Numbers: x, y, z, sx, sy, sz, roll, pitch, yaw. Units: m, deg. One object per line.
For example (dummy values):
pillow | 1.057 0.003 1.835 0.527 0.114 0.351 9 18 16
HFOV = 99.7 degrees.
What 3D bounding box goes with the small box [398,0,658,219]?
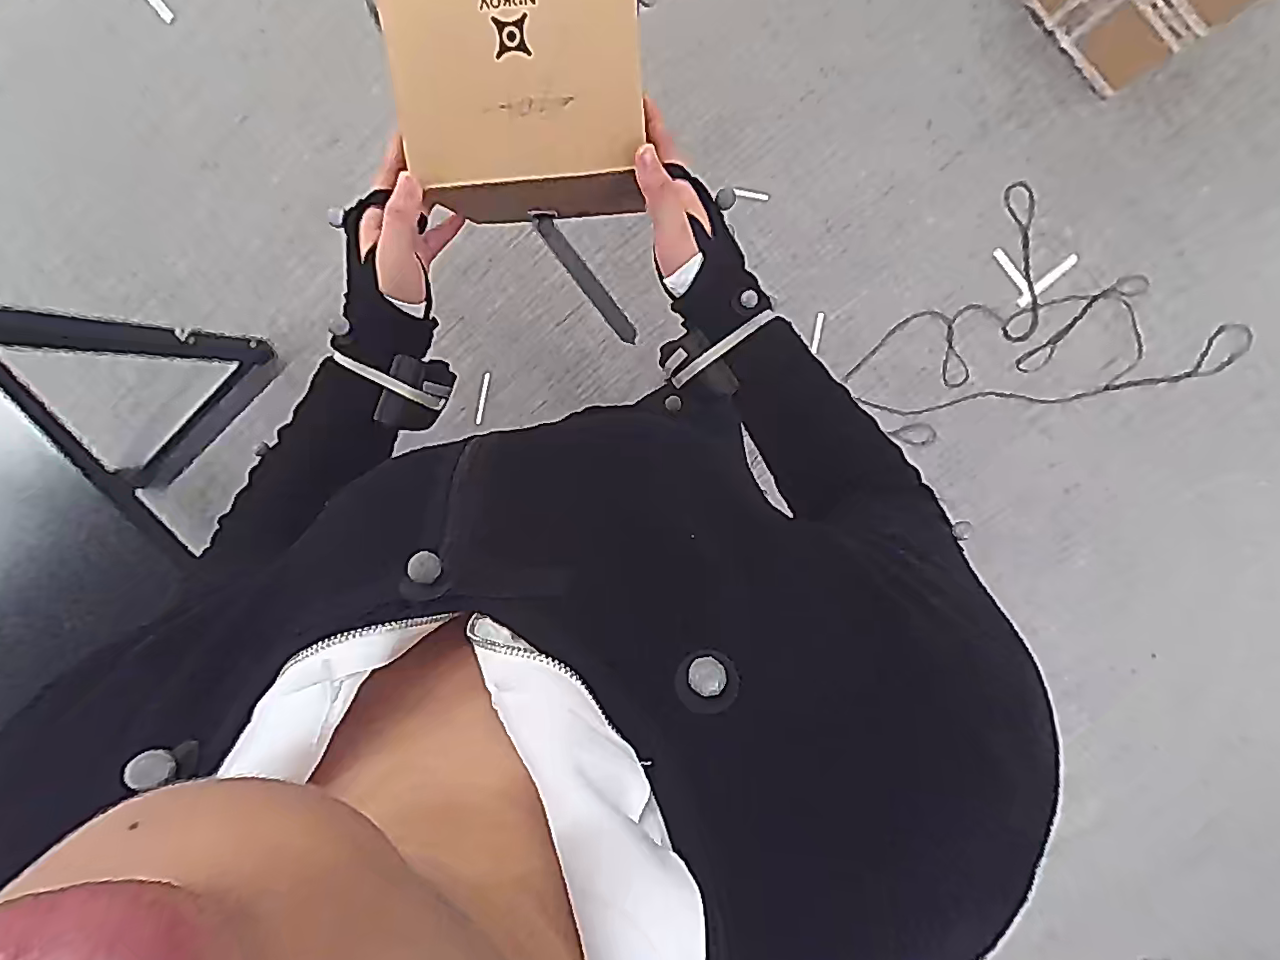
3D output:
small box | -0.074 -0.319 0.428 0.168 0.176 0.179 -4 108 2
